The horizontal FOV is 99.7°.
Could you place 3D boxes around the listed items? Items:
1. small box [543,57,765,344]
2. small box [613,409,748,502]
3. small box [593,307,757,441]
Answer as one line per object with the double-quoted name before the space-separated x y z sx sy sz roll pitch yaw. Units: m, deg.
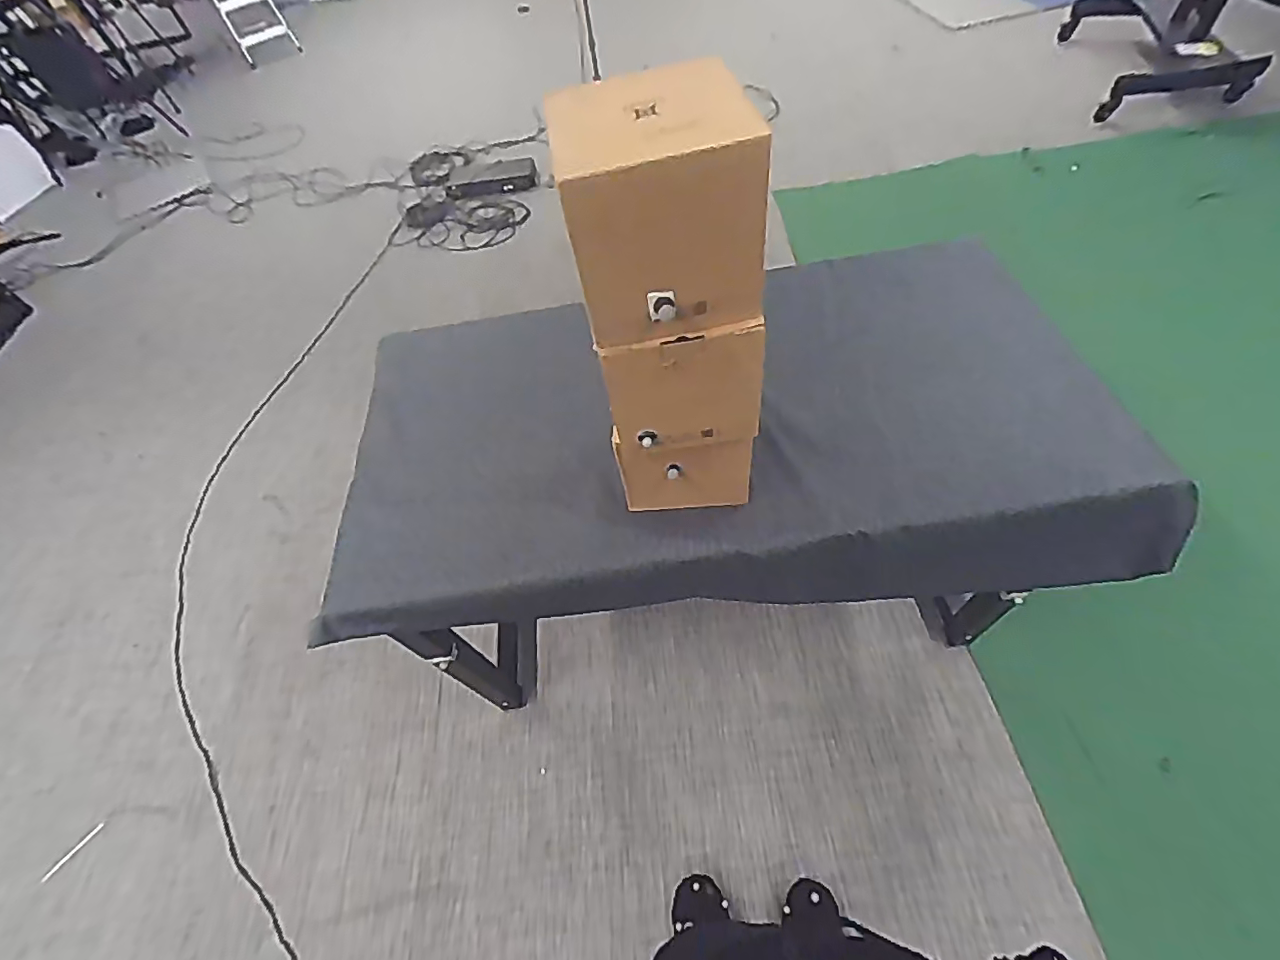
"small box" 0.012 -0.262 0.520 0.168 0.176 0.179 -13 55 1
"small box" 0.059 -0.082 0.790 0.179 0.176 0.168 -6 54 3
"small box" 0.038 -0.163 0.646 0.168 0.176 0.179 -12 56 1
